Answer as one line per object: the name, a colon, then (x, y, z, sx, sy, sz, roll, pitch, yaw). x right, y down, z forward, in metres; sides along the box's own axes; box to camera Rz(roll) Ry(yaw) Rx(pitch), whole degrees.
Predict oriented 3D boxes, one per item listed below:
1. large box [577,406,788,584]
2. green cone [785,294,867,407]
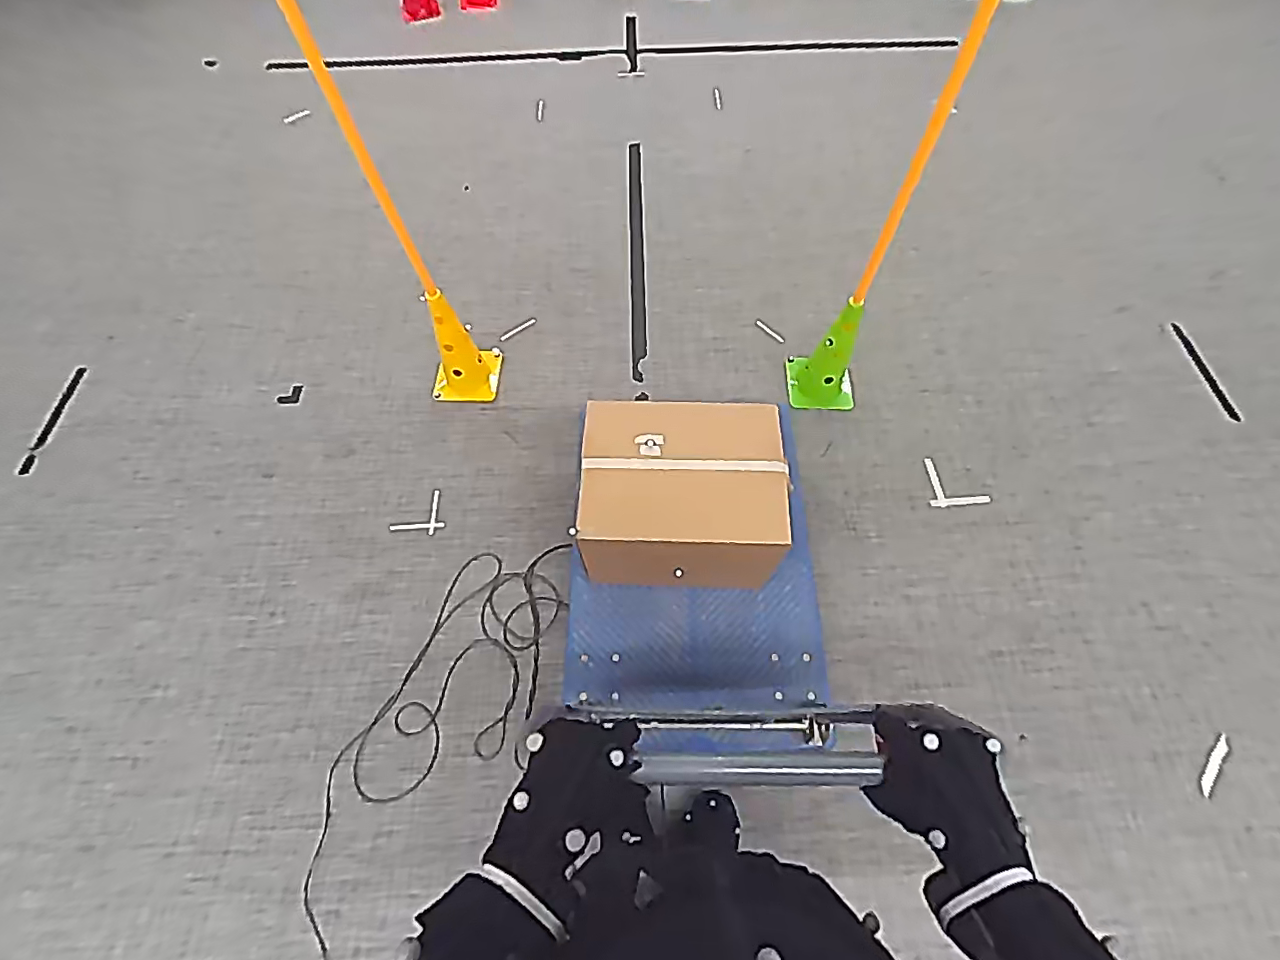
large box: (0.086, 0.047, 1.211, 0.408, 0.320, 0.320, 1, 64, 2)
green cone: (0.575, -0.395, 1.589, 0.202, 0.368, 0.200, 2, 63, 0)
